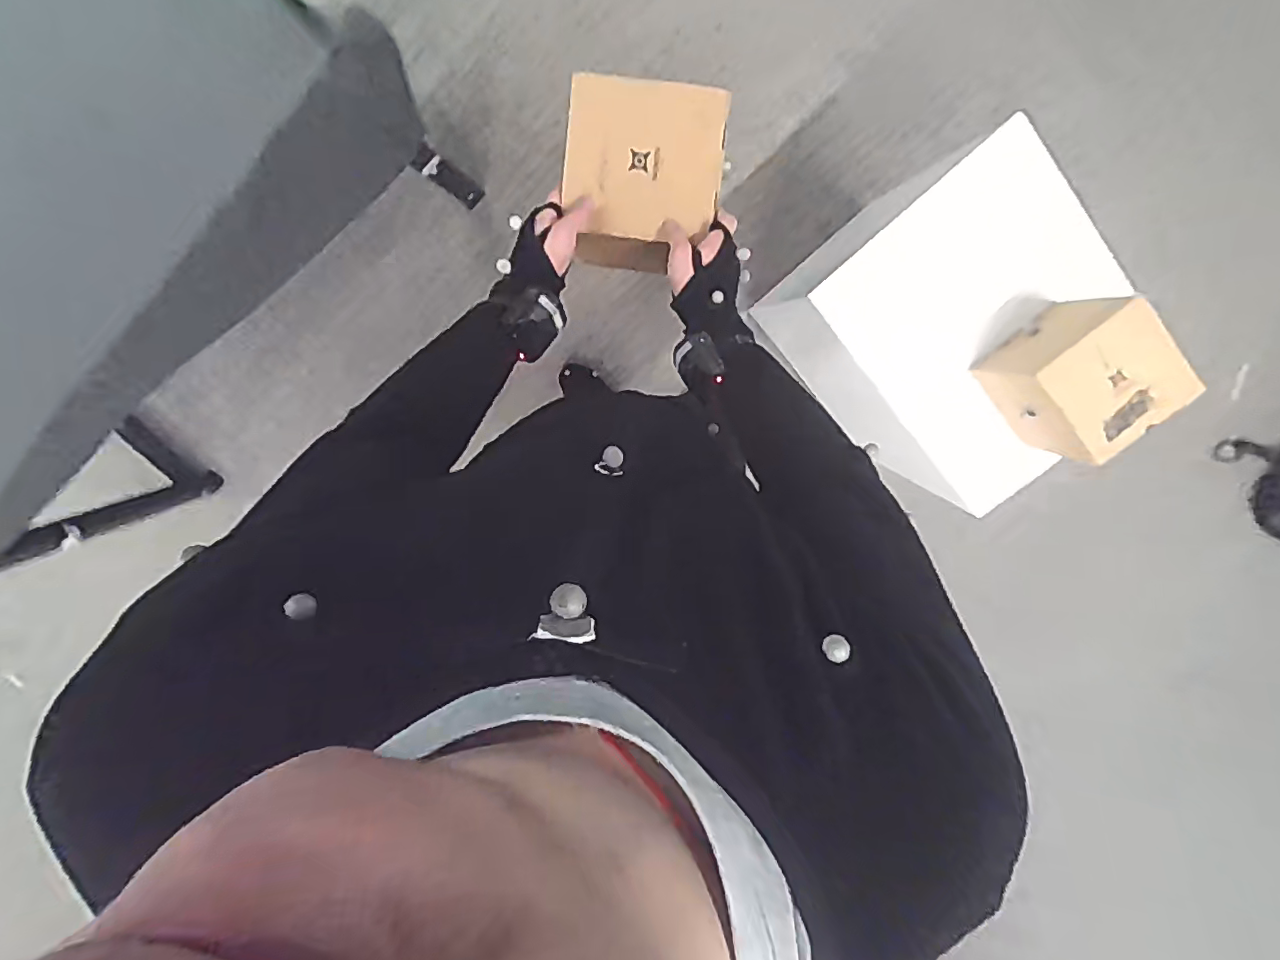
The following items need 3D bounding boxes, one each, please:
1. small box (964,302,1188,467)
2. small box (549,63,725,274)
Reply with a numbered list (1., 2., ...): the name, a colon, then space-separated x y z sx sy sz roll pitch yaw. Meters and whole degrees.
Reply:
1. small box: 0.652 -0.150 0.831 0.168 0.176 0.179 -40 101 9
2. small box: -0.004 -0.359 0.657 0.179 0.176 0.168 6 97 0
